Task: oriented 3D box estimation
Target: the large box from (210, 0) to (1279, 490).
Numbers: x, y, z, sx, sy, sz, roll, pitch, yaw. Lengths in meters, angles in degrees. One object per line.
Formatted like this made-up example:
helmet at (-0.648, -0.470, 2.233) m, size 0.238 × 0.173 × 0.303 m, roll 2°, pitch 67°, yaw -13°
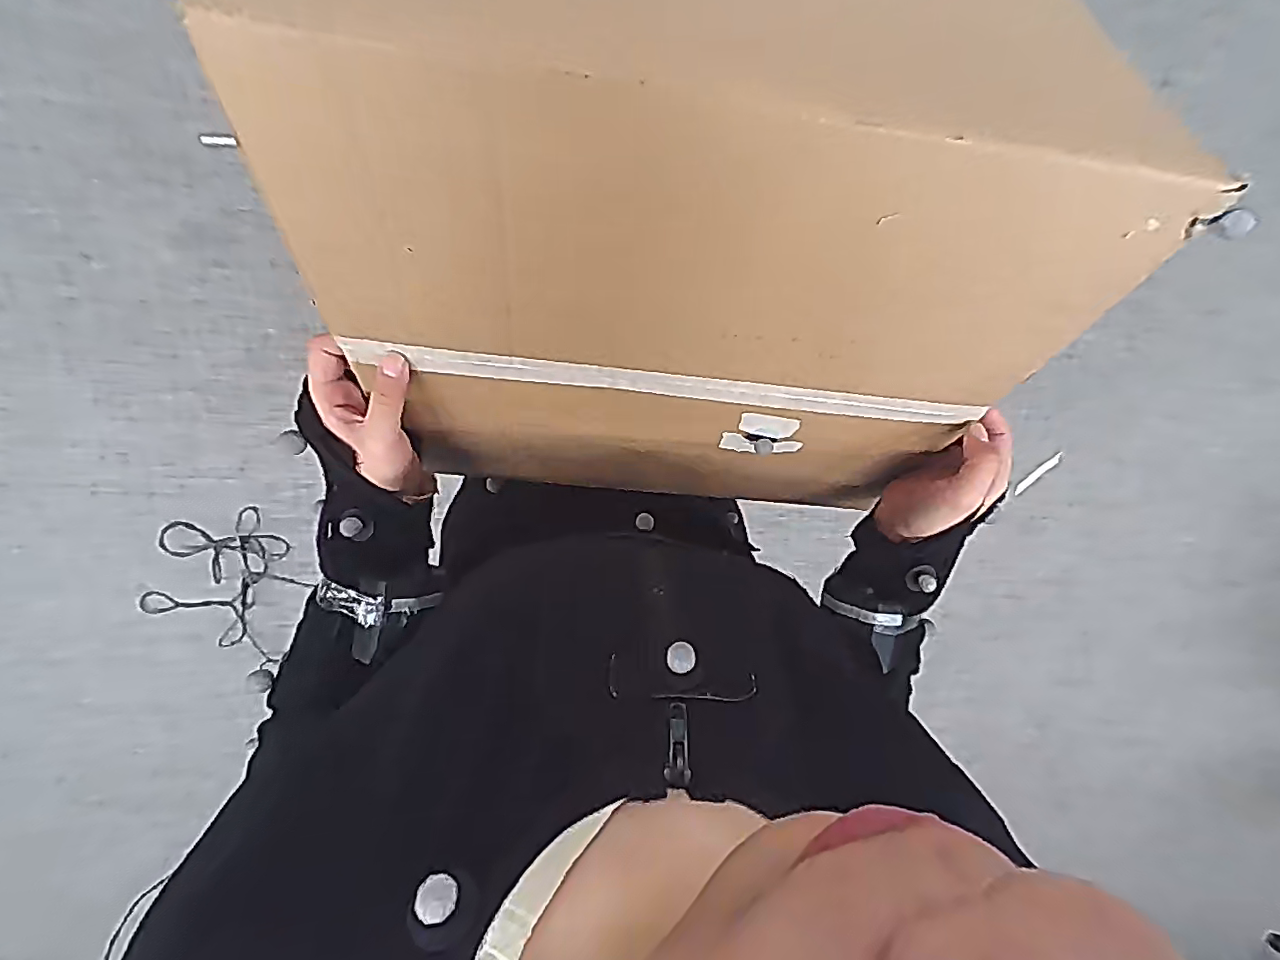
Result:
large box at (0.041, -0.208, 0.381) m, size 0.408 × 0.320 × 0.320 m, roll 4°, pitch 62°, yaw -7°
